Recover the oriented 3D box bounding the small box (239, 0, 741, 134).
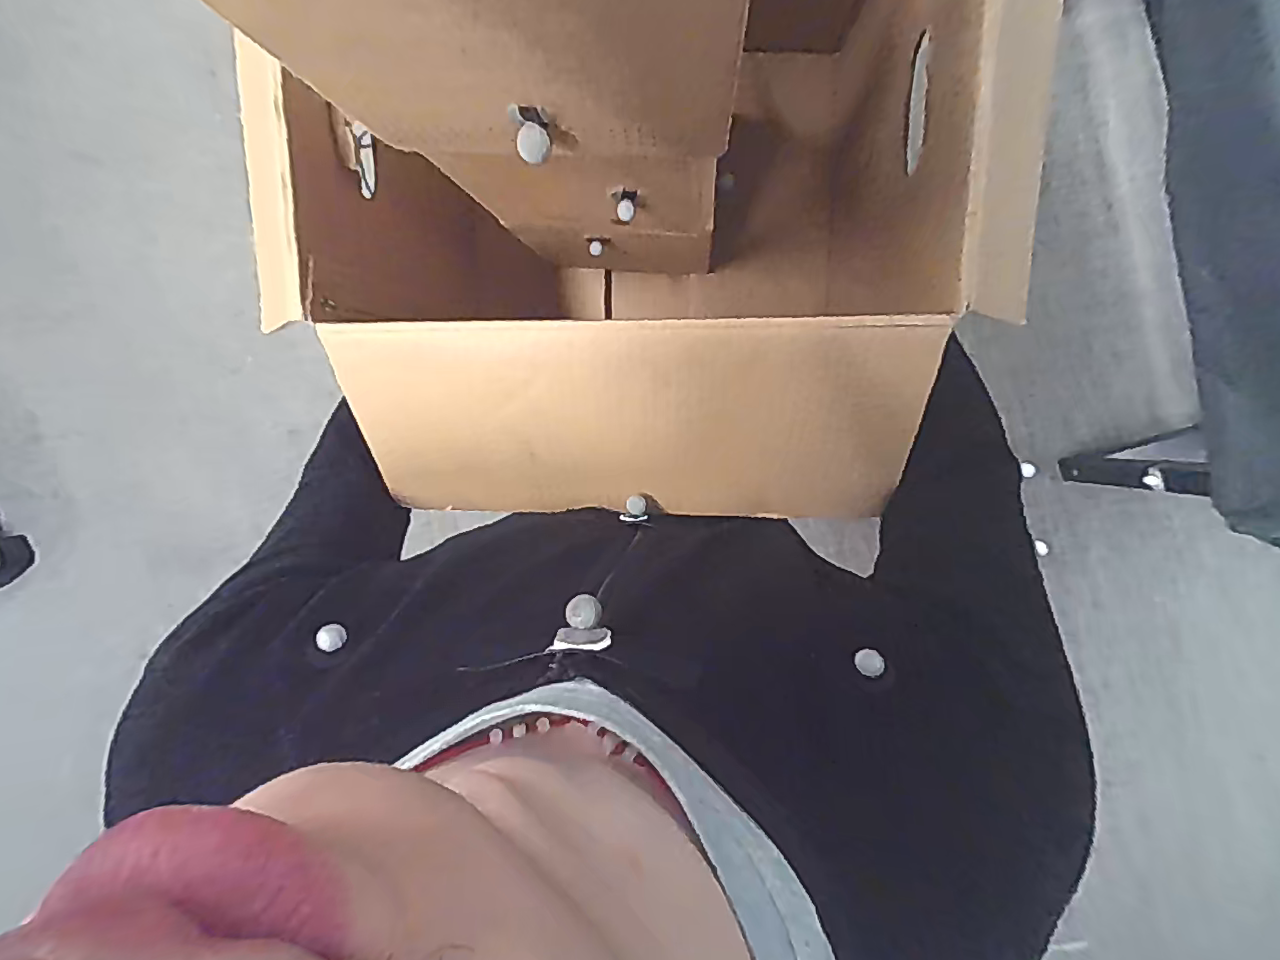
[{"bbox_3d":[-0.046,-0.235,0.171,0.179,0.176,0.168,4,101,4],"label":"small box"}]
